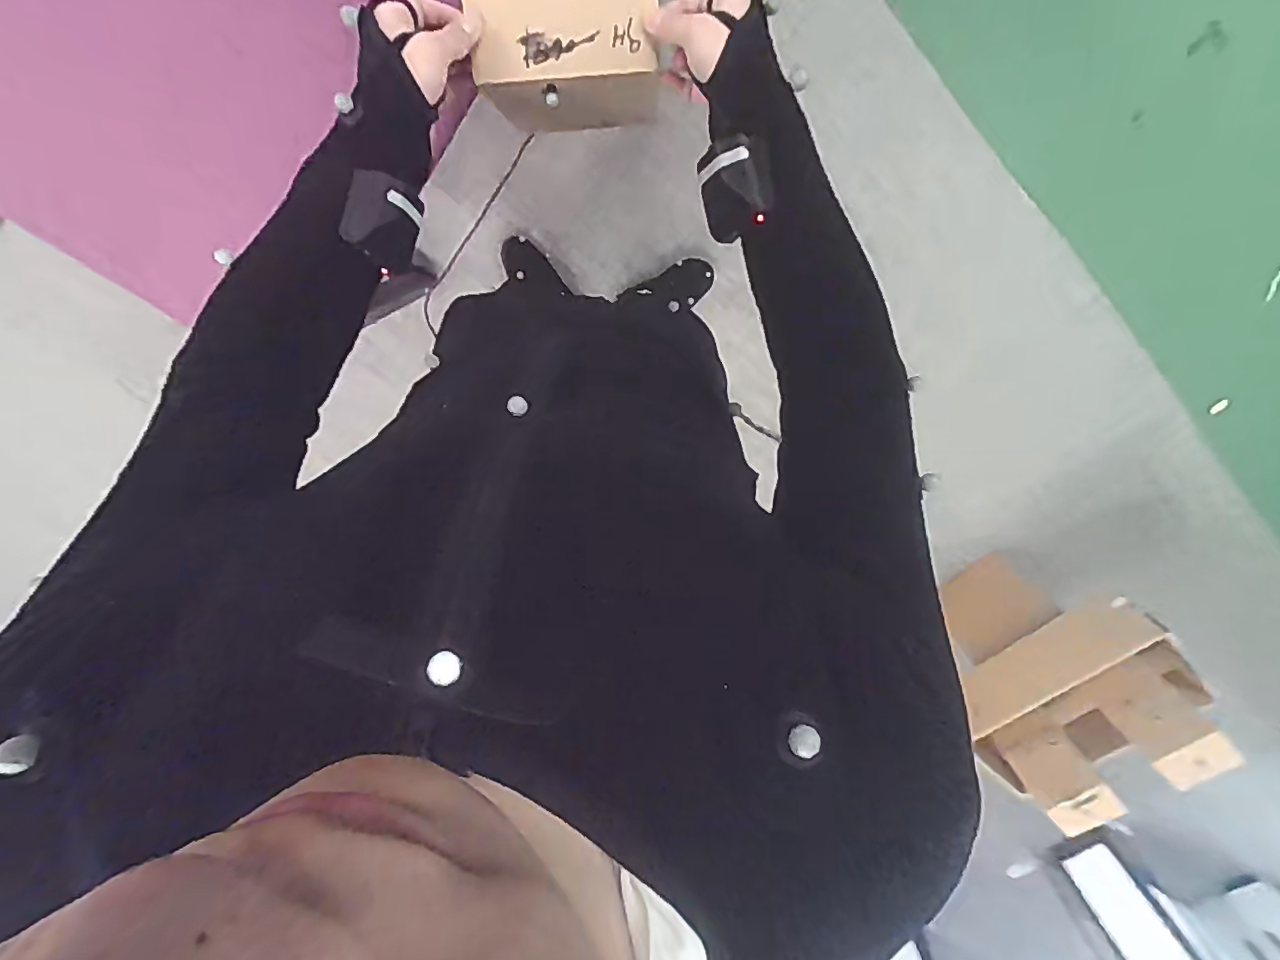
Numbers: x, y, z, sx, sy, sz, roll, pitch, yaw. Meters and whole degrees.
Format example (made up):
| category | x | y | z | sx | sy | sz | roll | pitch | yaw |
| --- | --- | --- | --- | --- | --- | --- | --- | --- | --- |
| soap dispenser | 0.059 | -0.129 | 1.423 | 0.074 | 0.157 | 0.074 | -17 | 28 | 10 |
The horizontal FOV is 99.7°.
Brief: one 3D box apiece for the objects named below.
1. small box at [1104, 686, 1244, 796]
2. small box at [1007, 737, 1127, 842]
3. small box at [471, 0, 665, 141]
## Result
| category | x | y | z | sx | sy | sz | roll | pitch | yaw |
| --- | --- | --- | --- | --- | --- | --- | --- | --- | --- |
| small box | 1.365 | 0.664 | 1.395 | 0.179 | 0.176 | 0.168 | 40 | 110 | -19 |
| small box | 1.158 | 0.838 | 1.481 | 0.168 | 0.176 | 0.179 | -40 | 113 | 17 |
| small box | -0.062 | -0.452 | 0.523 | 0.168 | 0.176 | 0.179 | -2 | 110 | 2 |
